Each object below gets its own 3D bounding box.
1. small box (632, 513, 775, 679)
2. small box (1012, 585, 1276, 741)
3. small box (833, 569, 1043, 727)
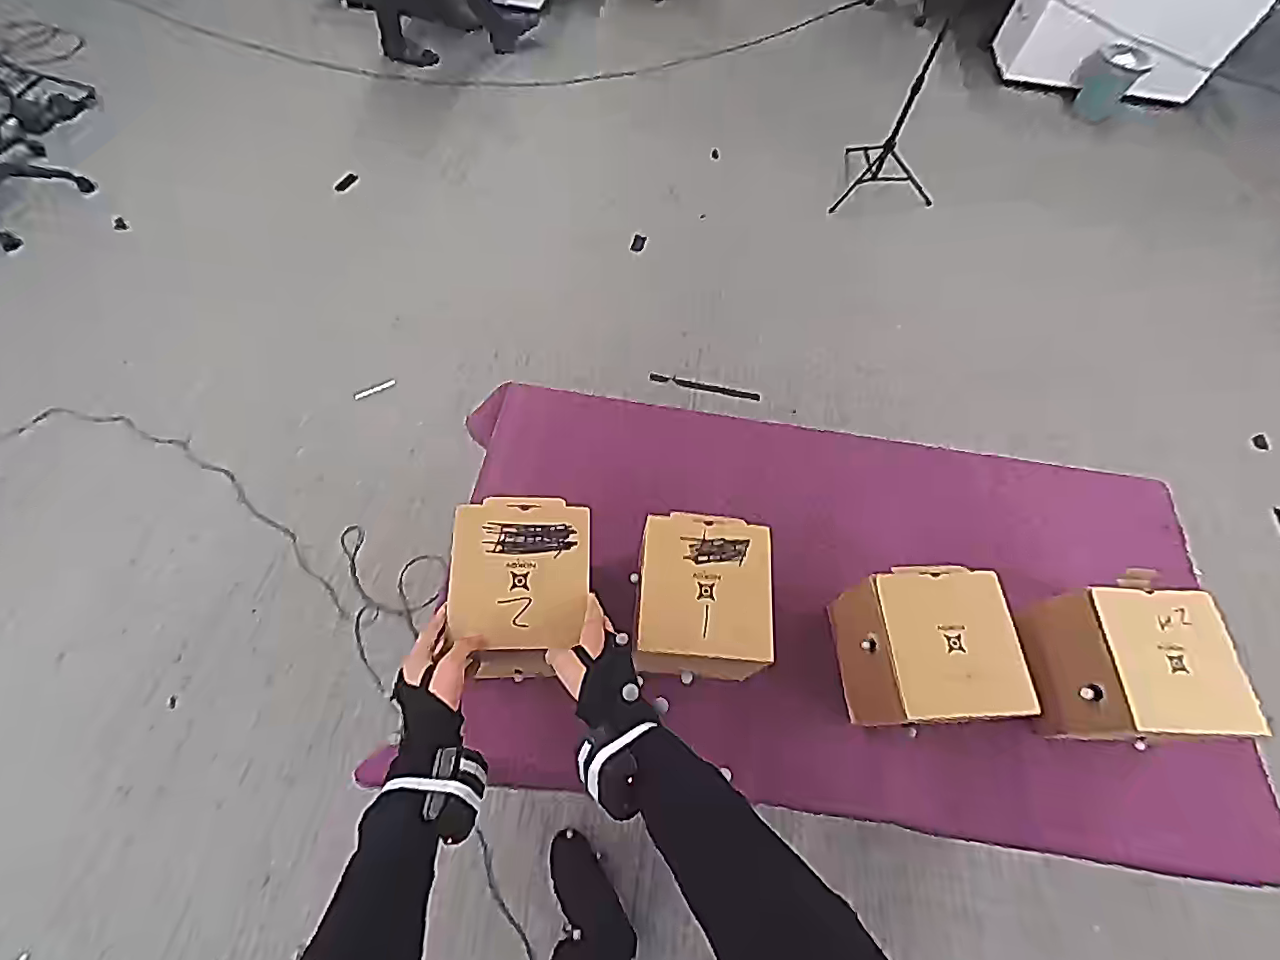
[{"bbox_3d":[0.079,0.164,0.741,0.168,0.176,0.179,5,63,-1],"label":"small box"},{"bbox_3d":[0.654,0.253,0.731,0.168,0.176,0.179,3,62,-2],"label":"small box"},{"bbox_3d":[0.378,0.230,0.728,0.168,0.176,0.179,-1,63,-3],"label":"small box"}]
